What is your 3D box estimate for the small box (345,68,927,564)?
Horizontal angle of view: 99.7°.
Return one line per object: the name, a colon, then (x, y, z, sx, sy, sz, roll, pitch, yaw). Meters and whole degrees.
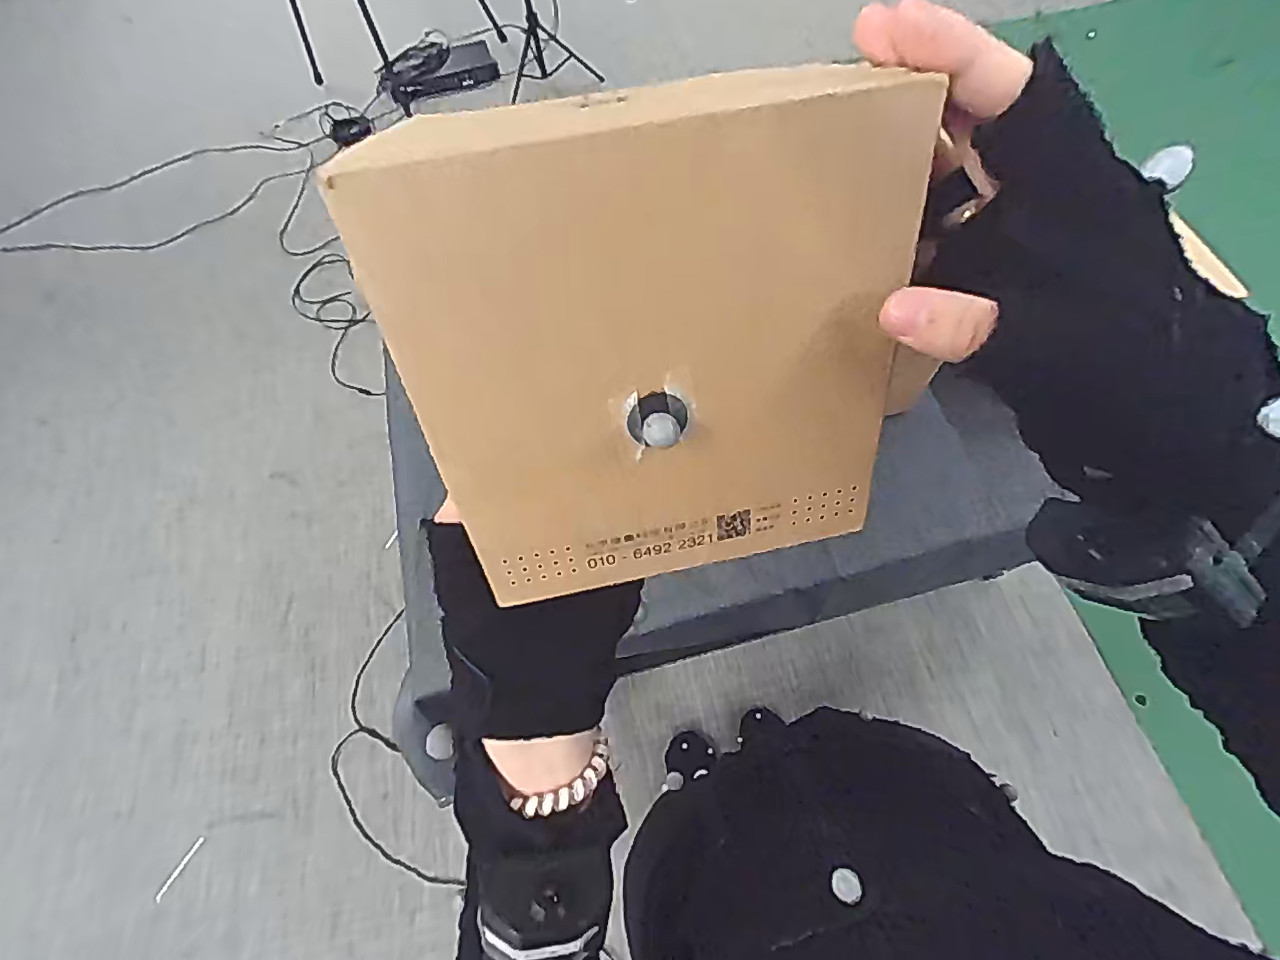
small box: (-0.002, -0.078, 0.258, 0.168, 0.176, 0.179, -11, 38, -4)
